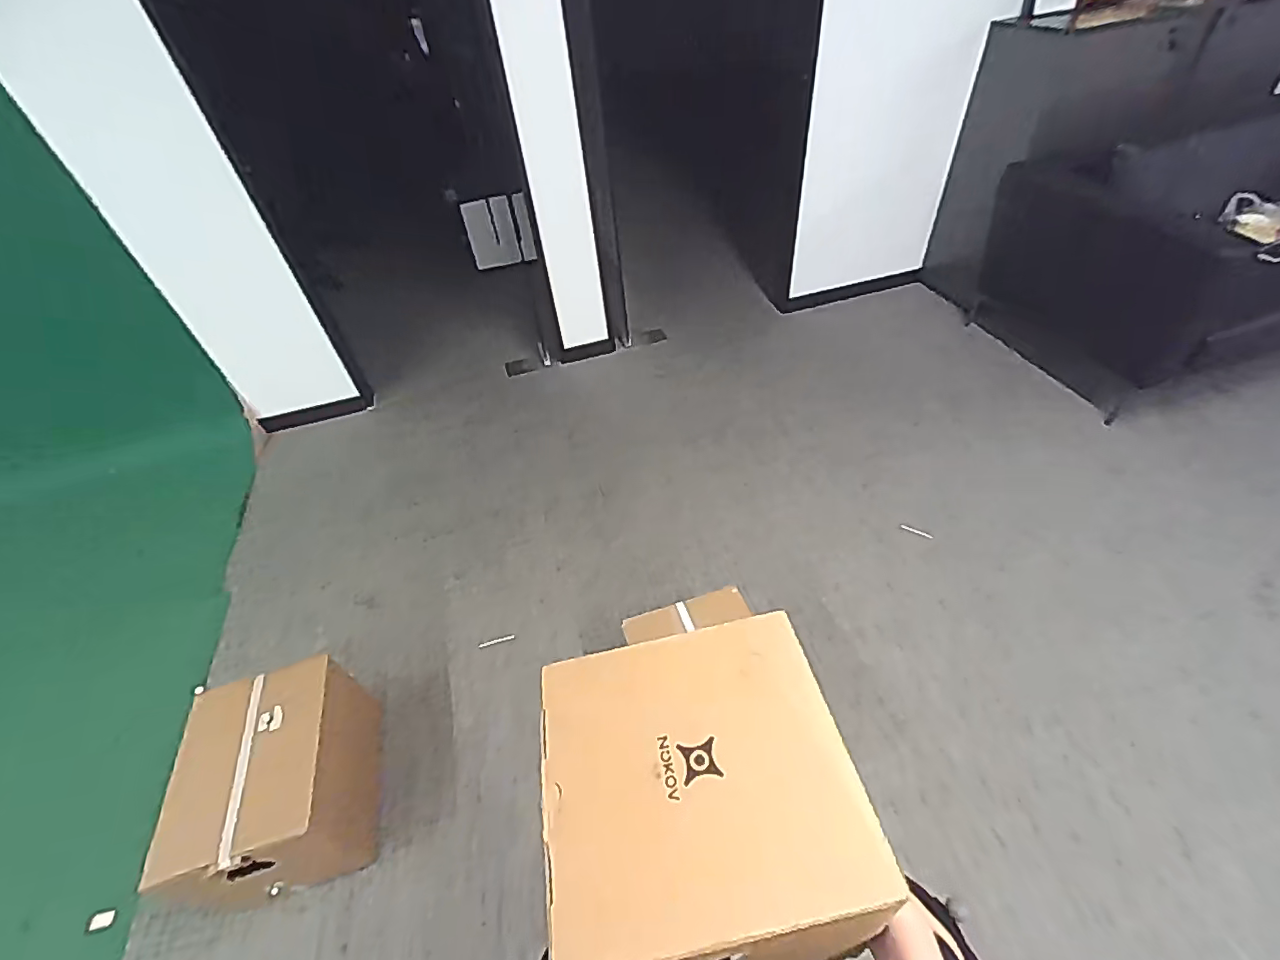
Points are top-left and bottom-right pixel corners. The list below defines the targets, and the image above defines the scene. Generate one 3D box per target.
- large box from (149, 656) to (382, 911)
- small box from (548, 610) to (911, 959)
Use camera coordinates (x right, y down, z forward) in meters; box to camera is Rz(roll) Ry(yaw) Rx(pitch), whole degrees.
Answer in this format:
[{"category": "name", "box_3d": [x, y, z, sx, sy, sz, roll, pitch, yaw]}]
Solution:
[{"category": "large box", "box_3d": [-0.835, 0.711, 1.287, 0.320, 0.320, 0.408, -16, 45, -8]}, {"category": "small box", "box_3d": [0.045, 0.219, 0.367, 0.179, 0.176, 0.168, -13, 43, -1]}]
